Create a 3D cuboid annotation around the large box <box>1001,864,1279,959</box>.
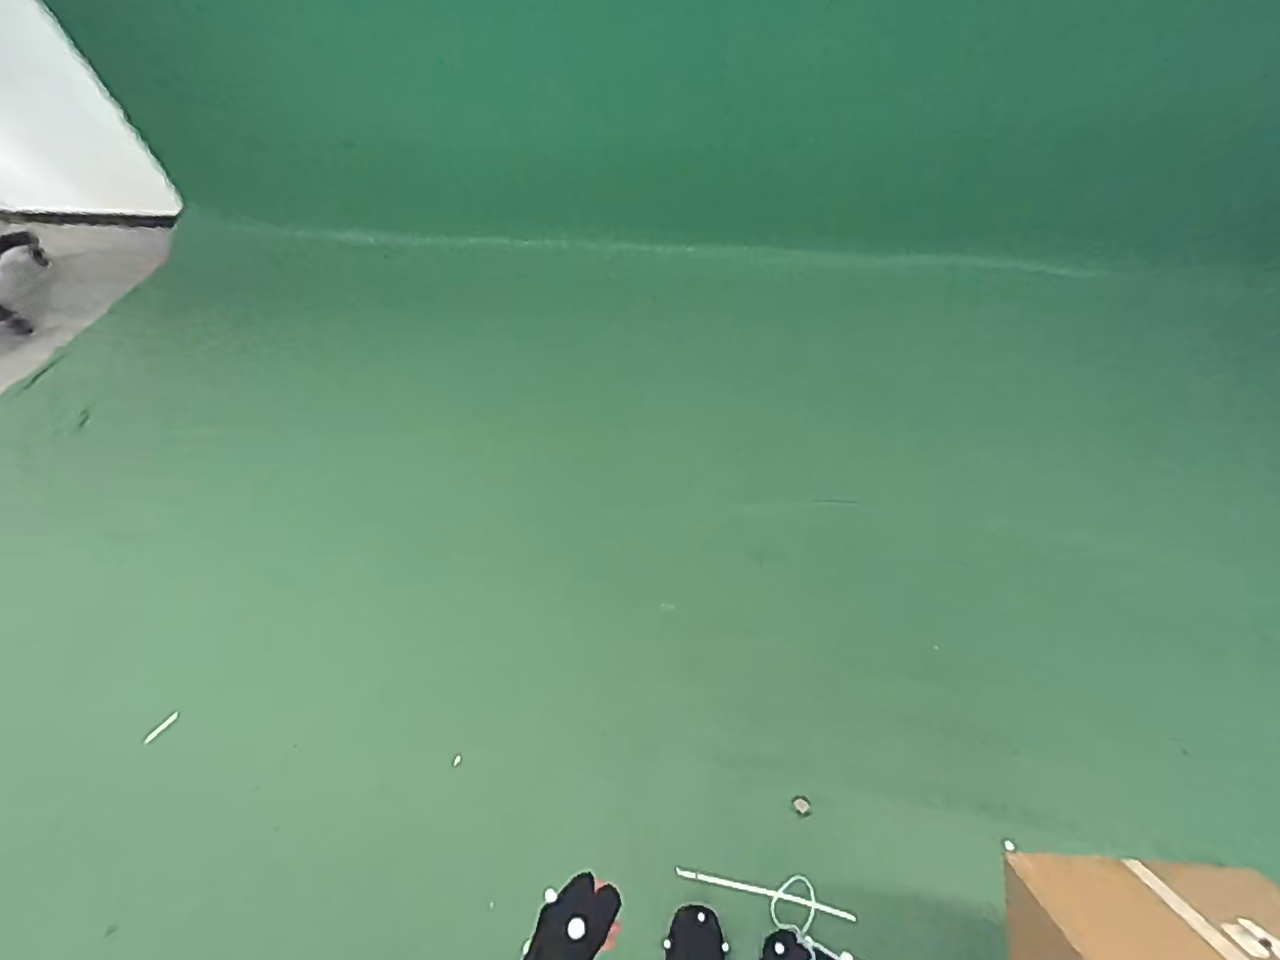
[{"bbox_3d":[0.643,0.691,0.552,0.320,0.408,0.320,0,88,9],"label":"large box"}]
